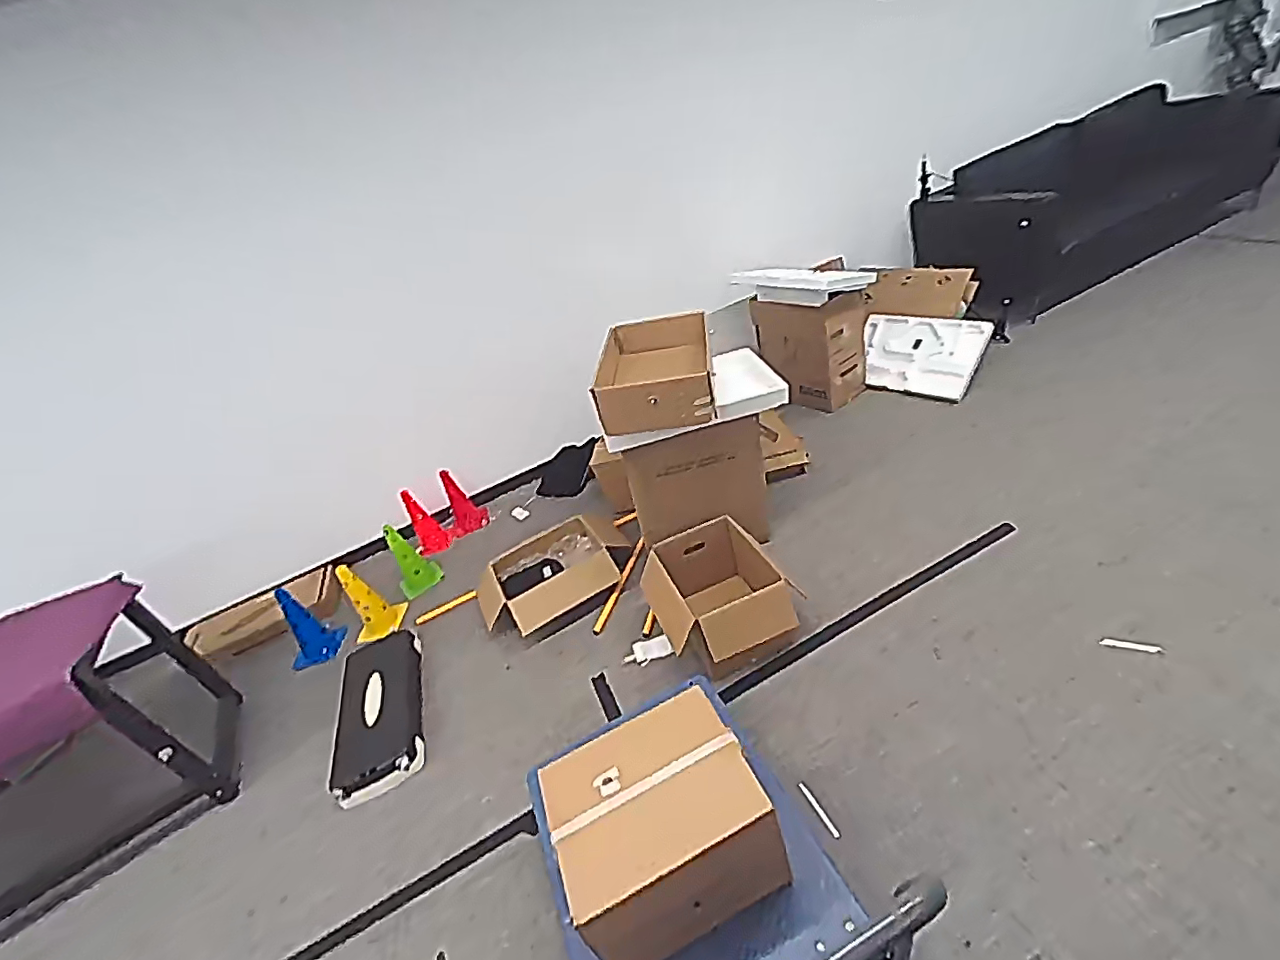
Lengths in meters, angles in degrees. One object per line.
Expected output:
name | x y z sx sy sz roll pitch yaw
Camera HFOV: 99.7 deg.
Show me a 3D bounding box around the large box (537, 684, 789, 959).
large box | 0.050 0.730 1.152 0.408 0.320 0.320 -25 32 -10
